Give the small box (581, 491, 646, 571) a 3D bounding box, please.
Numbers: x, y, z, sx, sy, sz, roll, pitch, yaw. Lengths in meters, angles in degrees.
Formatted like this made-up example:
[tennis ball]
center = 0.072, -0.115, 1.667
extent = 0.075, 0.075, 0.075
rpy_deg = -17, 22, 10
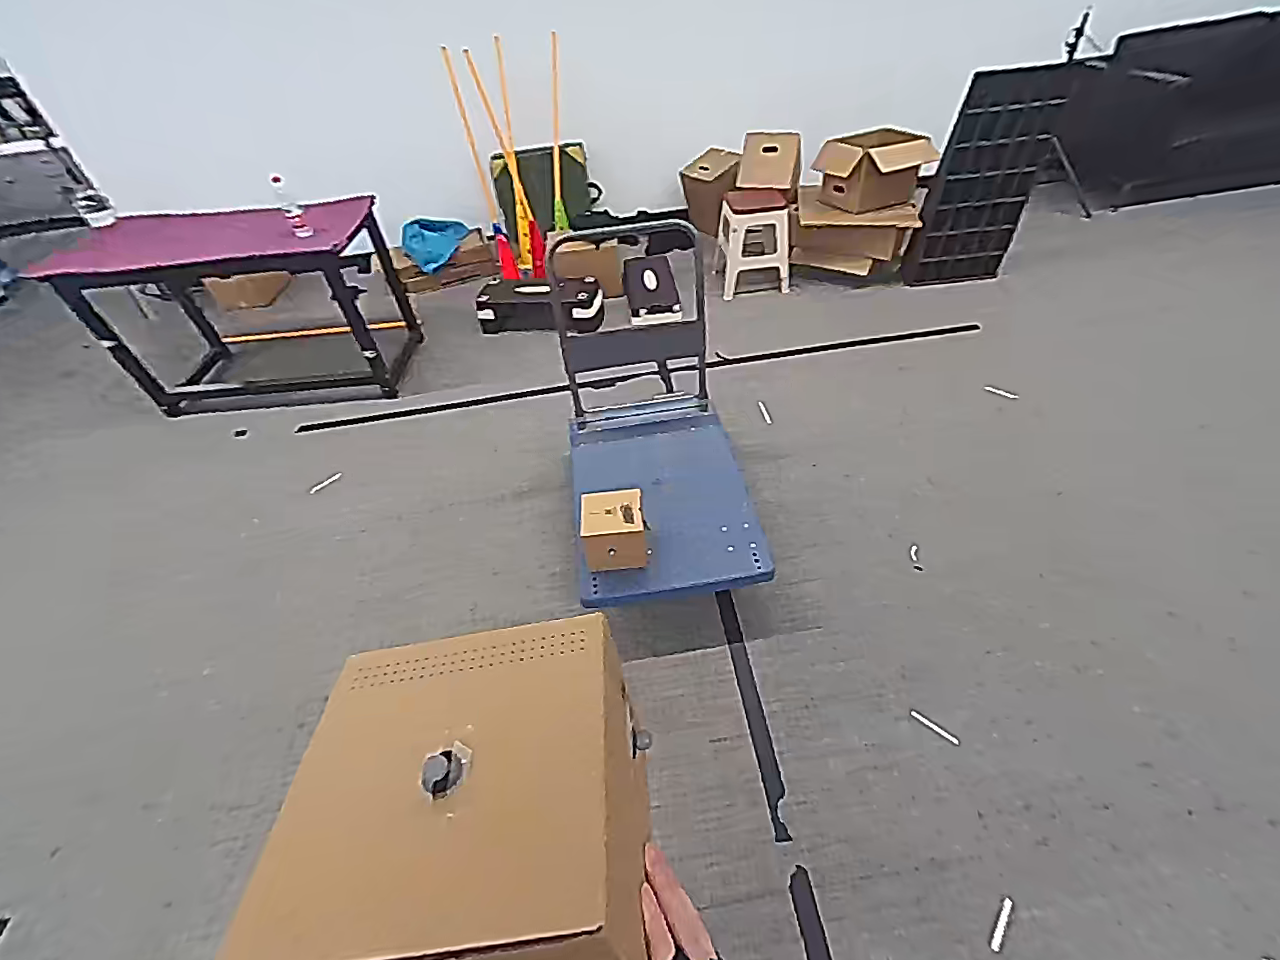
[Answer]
[small box]
center = -0.073, 0.153, 1.599
extent = 0.179, 0.176, 0.168
rpy_deg = -6, 44, 2
